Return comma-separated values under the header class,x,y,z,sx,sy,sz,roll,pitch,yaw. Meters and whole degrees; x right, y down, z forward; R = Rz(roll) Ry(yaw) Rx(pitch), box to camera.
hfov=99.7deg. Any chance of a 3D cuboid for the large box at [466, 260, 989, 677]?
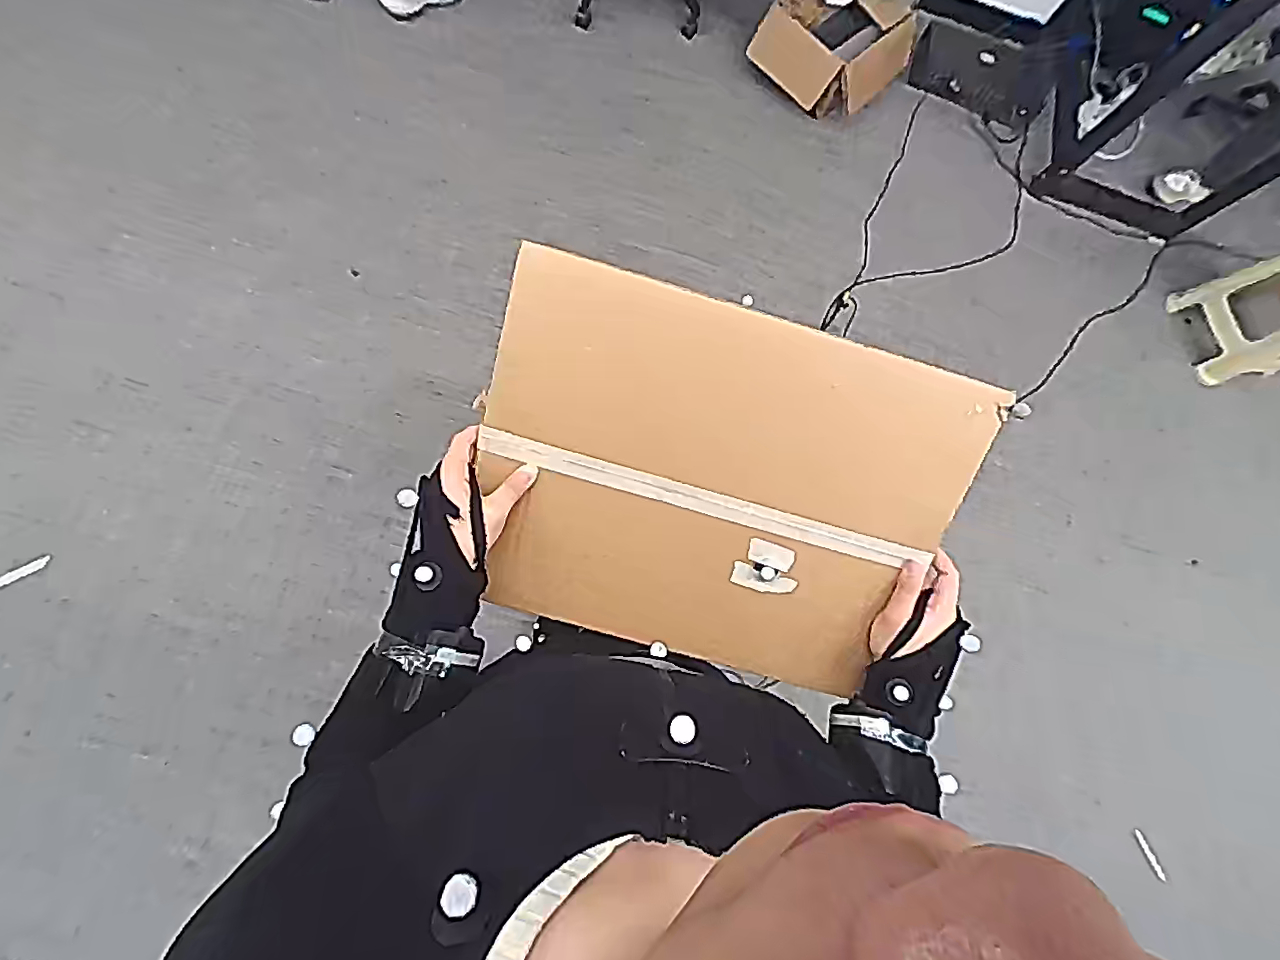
class,x,y,z,sx,sy,sz,roll,pitch,yaw
large box,0.062,-0.035,0.621,0.408,0.320,0.320,15,110,-5
